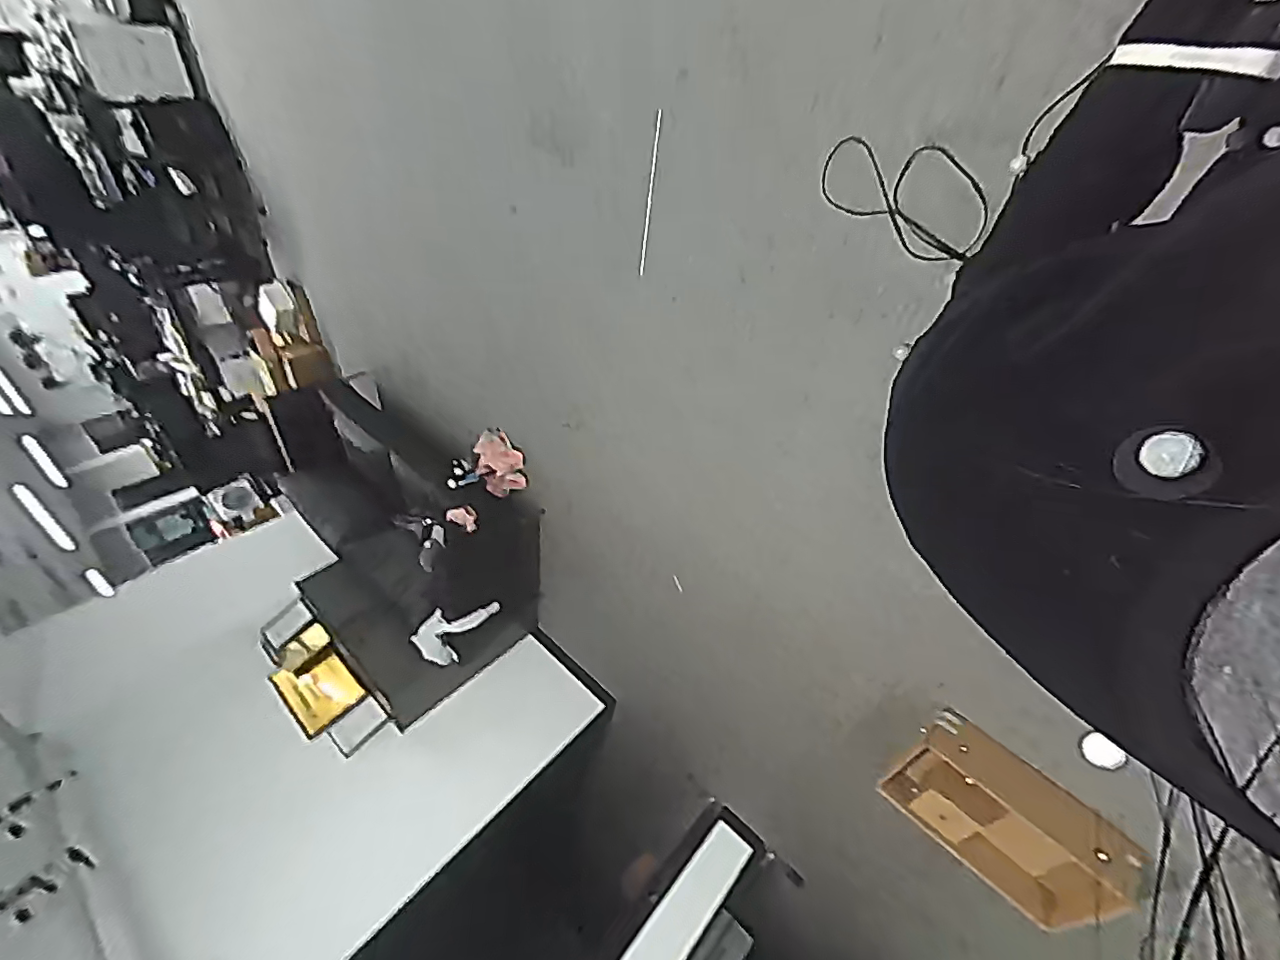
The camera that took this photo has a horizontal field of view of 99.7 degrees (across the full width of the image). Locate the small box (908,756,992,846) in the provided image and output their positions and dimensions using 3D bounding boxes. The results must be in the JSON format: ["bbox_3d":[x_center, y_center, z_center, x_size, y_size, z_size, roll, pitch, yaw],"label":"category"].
[{"bbox_3d":[1.049,1.080,1.825,0.168,0.176,0.179,35,136,25],"label":"small box"}]
